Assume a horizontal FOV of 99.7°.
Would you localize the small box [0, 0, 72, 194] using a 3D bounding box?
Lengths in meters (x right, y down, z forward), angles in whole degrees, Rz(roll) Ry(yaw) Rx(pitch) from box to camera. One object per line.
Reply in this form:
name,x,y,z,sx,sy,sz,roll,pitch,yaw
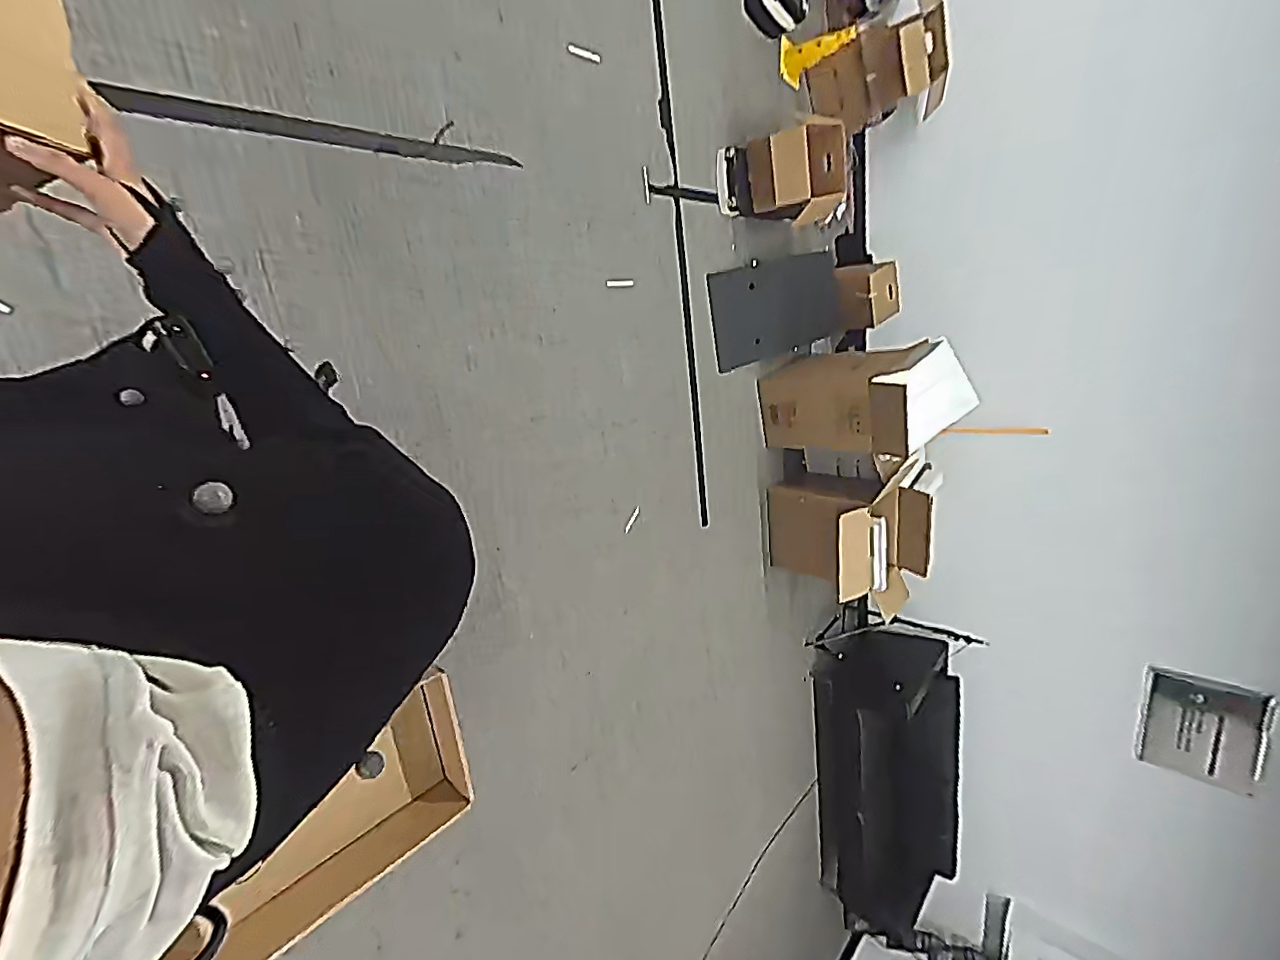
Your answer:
small box,-0.593,-0.340,0.403,0.168,0.176,0.179,-19,102,-68
